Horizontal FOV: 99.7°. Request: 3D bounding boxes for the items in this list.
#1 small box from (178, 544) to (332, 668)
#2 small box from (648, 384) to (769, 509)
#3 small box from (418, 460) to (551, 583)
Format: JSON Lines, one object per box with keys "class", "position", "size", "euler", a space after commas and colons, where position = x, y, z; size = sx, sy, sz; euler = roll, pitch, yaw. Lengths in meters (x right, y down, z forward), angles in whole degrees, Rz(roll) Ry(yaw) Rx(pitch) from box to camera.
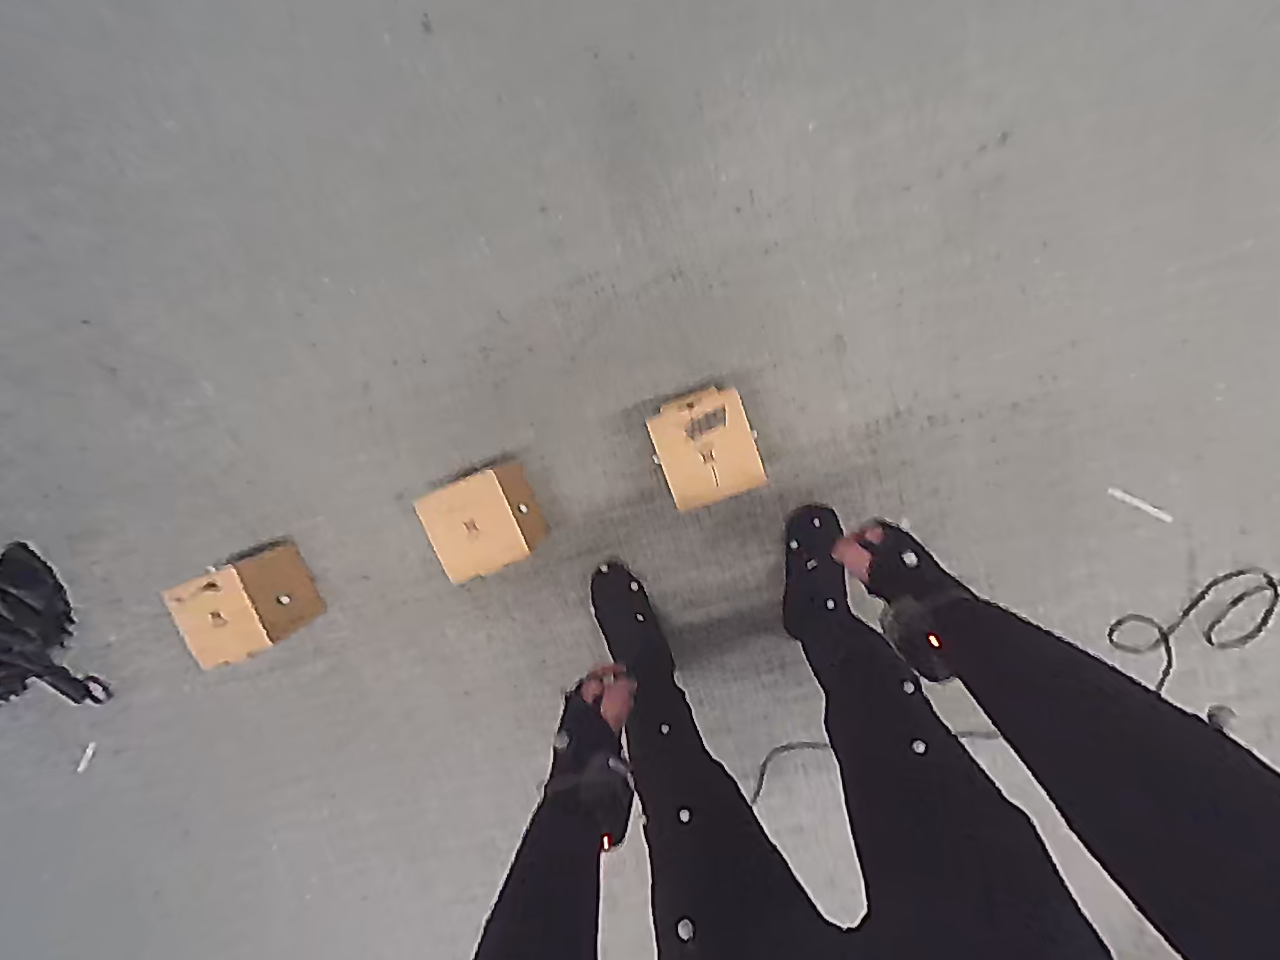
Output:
{"class": "small box", "position": [-0.799, 0.259, 1.142], "size": [0.168, 0.176, 0.179], "euler": [-21, 98, 7]}
{"class": "small box", "position": [0.124, -0.067, 1.003], "size": [0.168, 0.176, 0.179], "euler": [-20, 98, 9]}
{"class": "small box", "position": [-0.295, 0.074, 1.069], "size": [0.168, 0.176, 0.179], "euler": [-23, 96, 7]}
